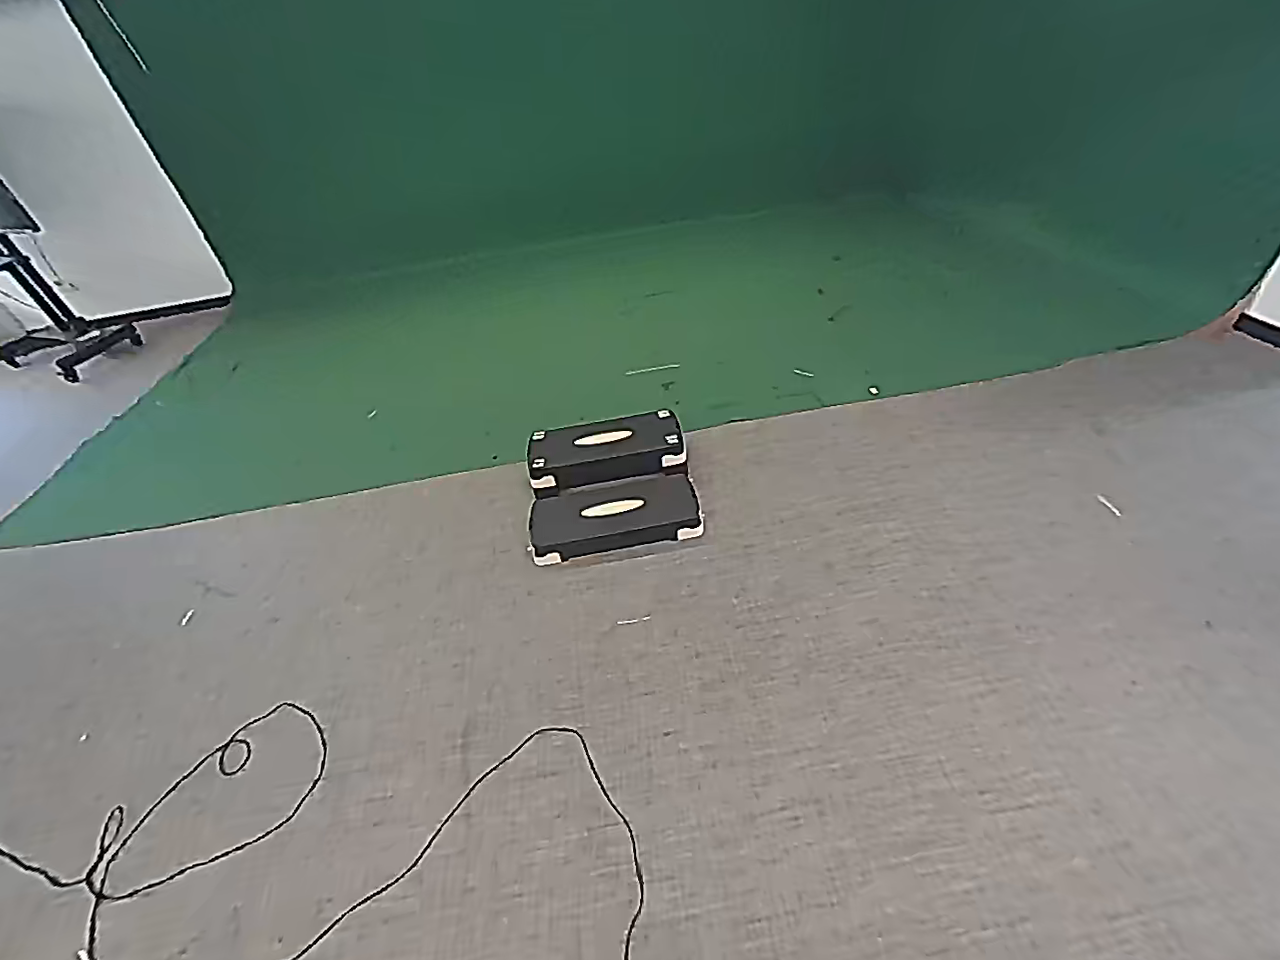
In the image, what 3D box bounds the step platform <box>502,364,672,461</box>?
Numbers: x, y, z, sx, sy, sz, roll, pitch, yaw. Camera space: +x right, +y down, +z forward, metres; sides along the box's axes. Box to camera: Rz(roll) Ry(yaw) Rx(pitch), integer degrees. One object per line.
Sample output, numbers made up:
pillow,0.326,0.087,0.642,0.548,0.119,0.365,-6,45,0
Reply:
step platform,-0.209,-0.282,2.246,0.684,0.204,0.286,-11,41,-1
